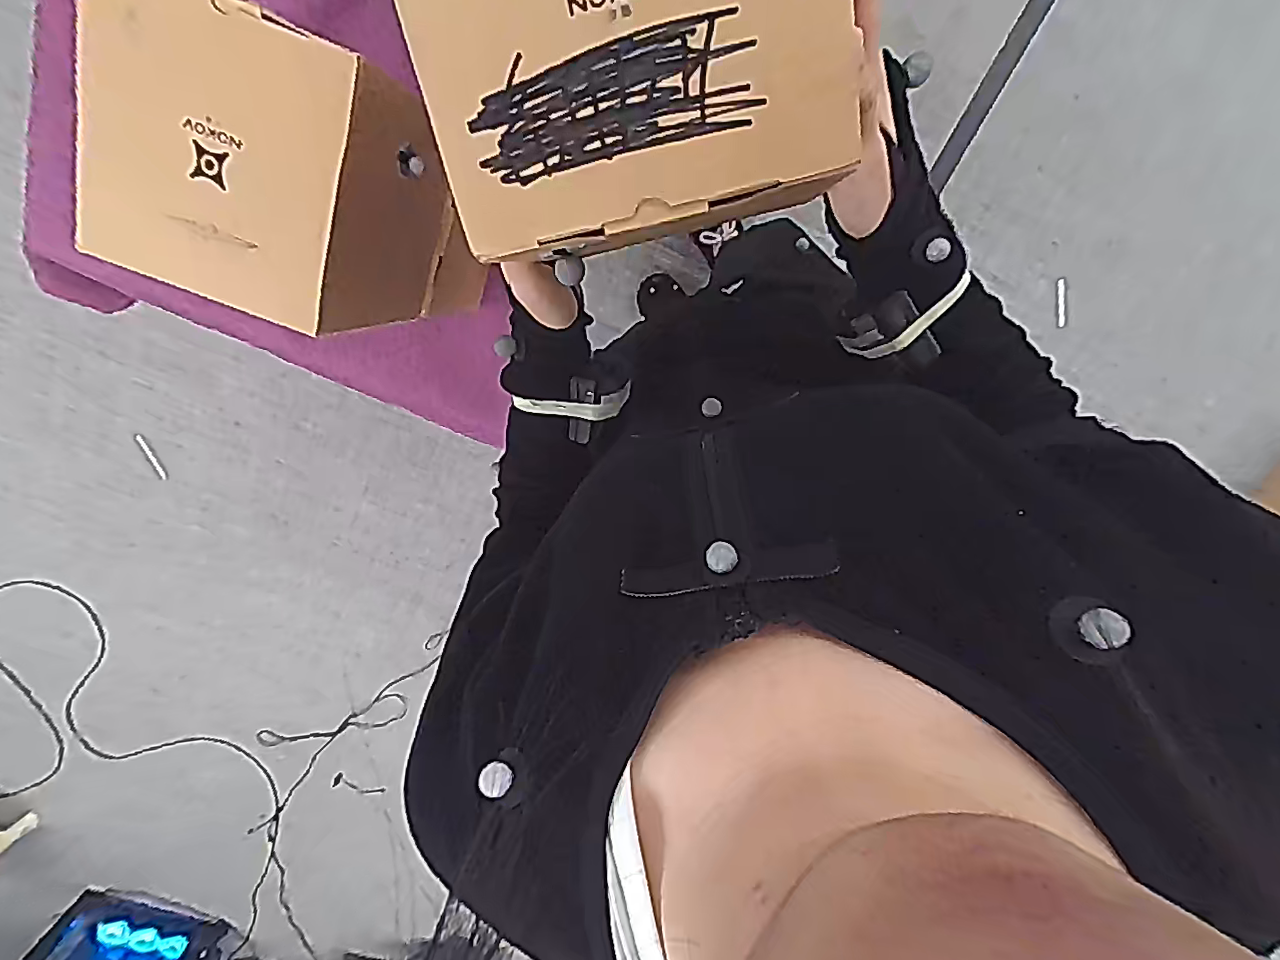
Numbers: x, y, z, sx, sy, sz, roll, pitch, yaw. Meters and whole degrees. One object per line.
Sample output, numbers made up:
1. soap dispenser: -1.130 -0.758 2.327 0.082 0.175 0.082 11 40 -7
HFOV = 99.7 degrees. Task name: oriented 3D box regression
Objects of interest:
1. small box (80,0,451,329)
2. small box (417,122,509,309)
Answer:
1. small box: -0.264 -0.236 0.417 0.168 0.176 0.179 20 111 -4
2. small box: -0.260 -0.294 0.569 0.179 0.176 0.168 21 110 -6
